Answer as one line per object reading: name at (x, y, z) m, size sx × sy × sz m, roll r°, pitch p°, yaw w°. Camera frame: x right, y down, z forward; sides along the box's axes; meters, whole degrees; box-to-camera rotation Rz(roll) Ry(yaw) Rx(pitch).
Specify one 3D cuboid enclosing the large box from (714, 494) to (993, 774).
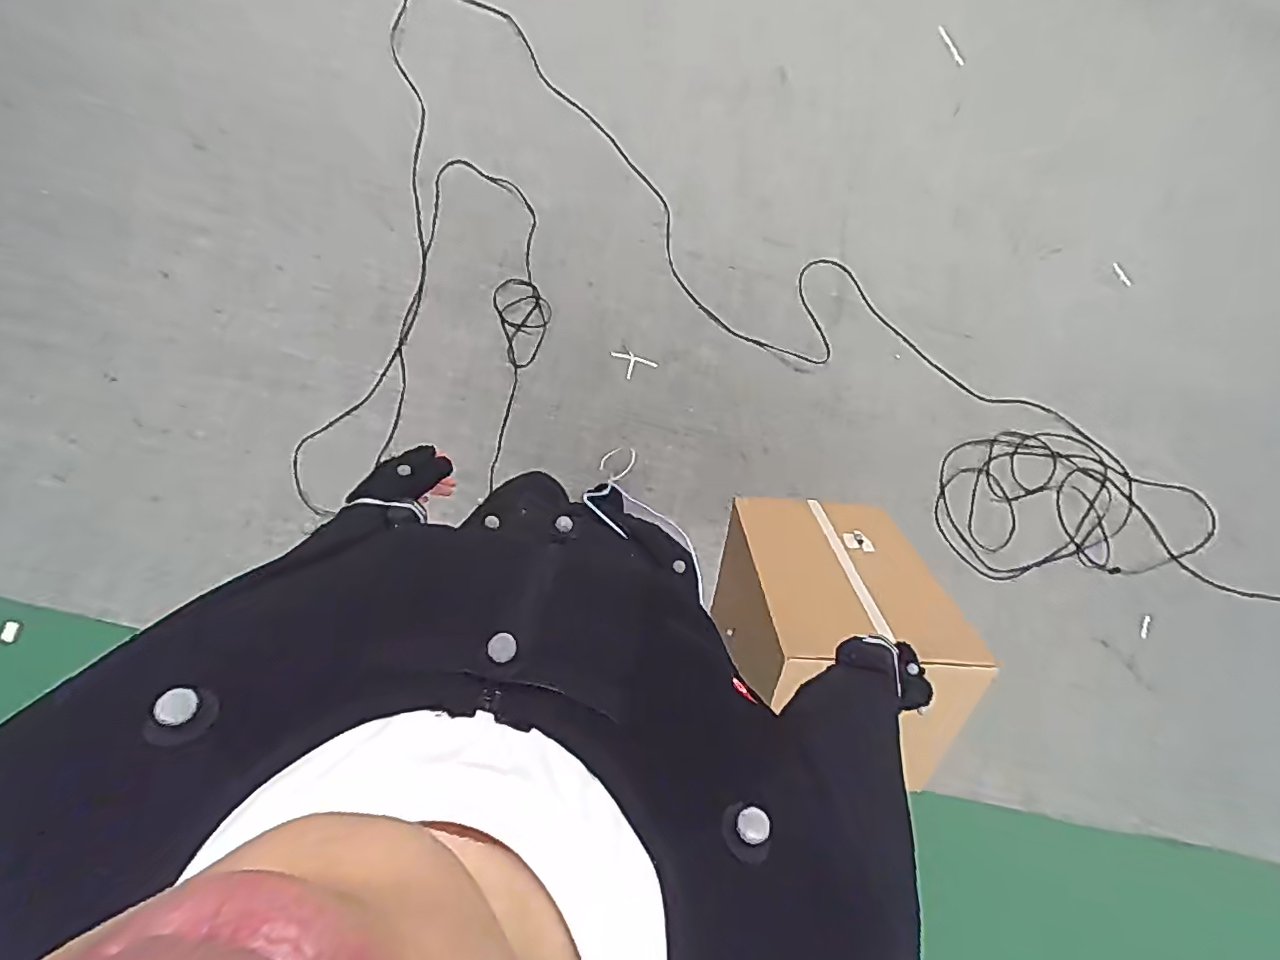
large box at (0.335, 0.268, 1.001) m, size 0.320 × 0.408 × 0.320 m, roll 4°, pitch 121°, yaw -4°
